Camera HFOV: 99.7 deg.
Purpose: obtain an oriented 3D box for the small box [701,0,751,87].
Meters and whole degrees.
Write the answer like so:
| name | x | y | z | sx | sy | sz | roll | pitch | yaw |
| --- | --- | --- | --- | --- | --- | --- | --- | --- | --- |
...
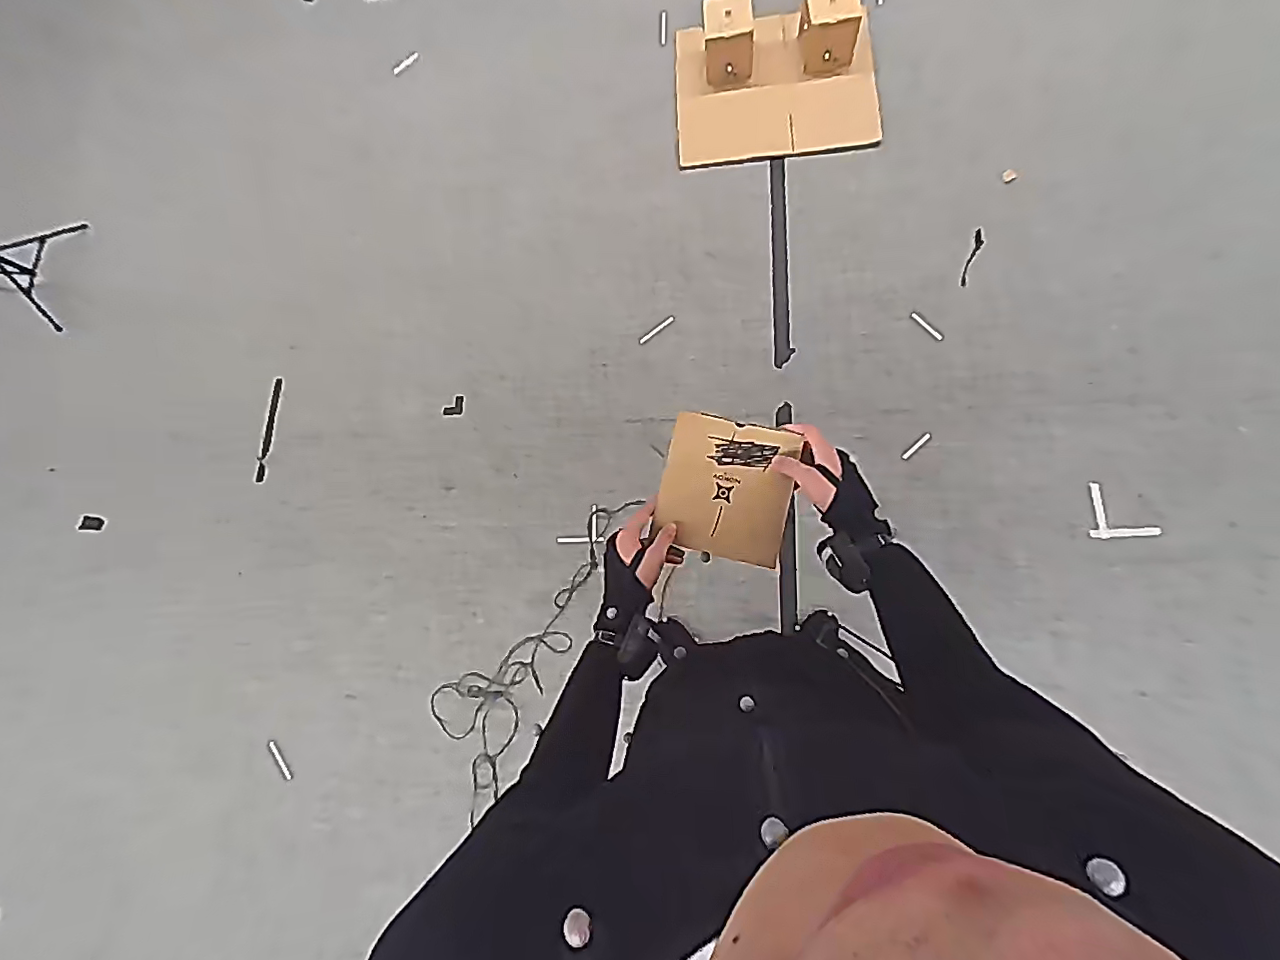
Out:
| name | x | y | z | sx | sy | sz | roll | pitch | yaw |
| --- | --- | --- | --- | --- | --- | --- | --- | --- | --- |
| small box | 0.305 | -1.559 | 1.931 | 0.168 | 0.176 | 0.179 | -3 | 77 | 9 |

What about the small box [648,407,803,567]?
| name | x | y | z | sx | sy | sz | roll | pitch | yaw |
| --- | --- | --- | --- | --- | --- | --- | --- | --- | --- |
| small box | 0.117 | 0.015 | 0.762 | 0.168 | 0.176 | 0.179 | 13 | 86 | 9 |

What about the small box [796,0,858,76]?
| name | x | y | z | sx | sy | sz | roll | pitch | yaw |
| --- | --- | --- | --- | --- | --- | --- | --- | --- | --- |
| small box | 0.646 | -1.569 | 1.888 | 0.168 | 0.176 | 0.179 | -6 | 77 | 8 |
